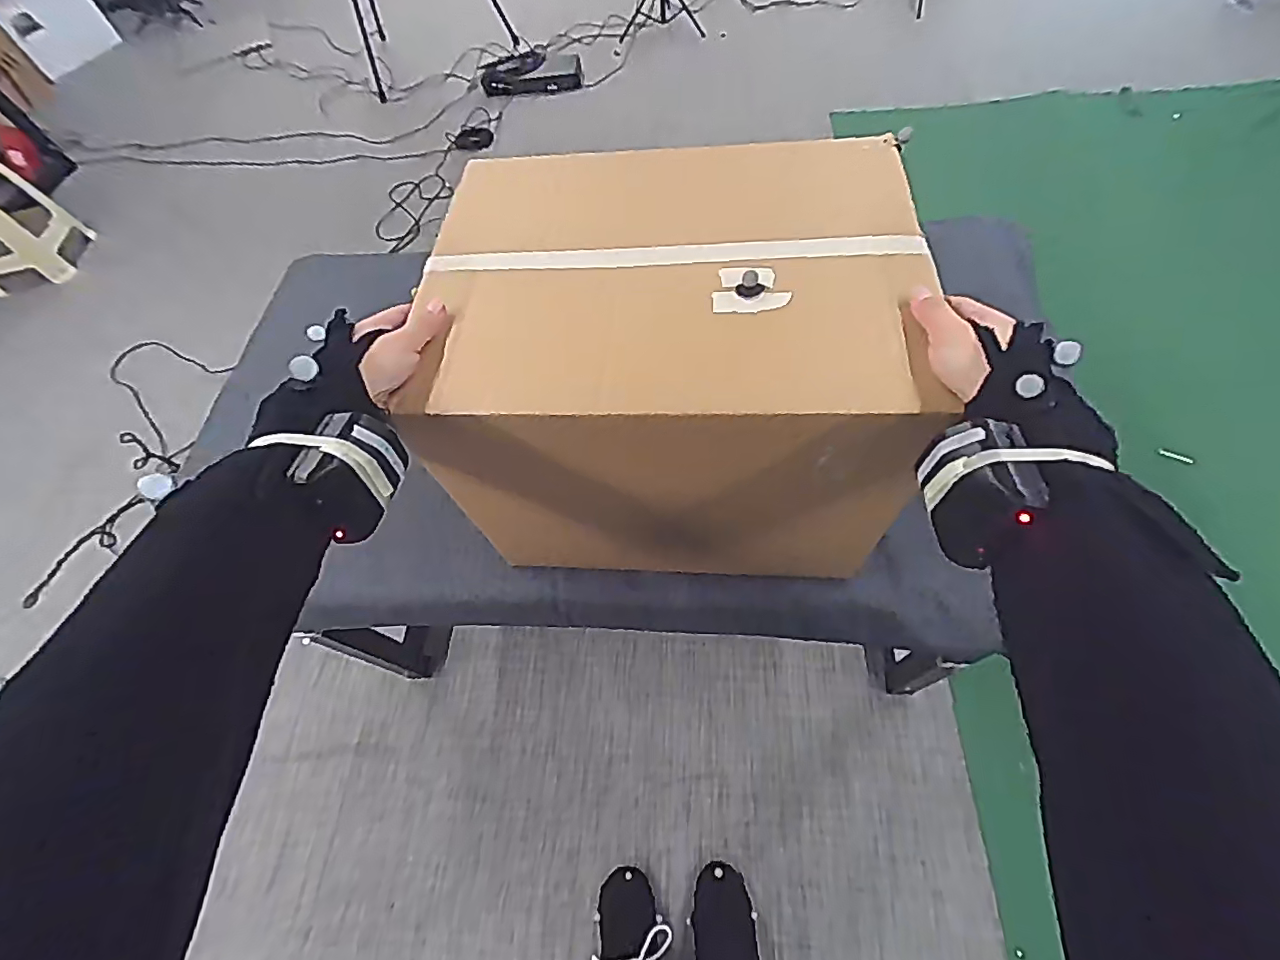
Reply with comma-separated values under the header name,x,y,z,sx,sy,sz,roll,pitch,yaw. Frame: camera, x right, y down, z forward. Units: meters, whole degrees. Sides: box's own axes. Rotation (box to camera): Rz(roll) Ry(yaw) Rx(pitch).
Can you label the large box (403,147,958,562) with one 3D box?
name,x,y,z,sx,sy,sz,roll,pitch,yaw
large box,0.037,-0.108,0.583,0.408,0.320,0.320,0,61,6
